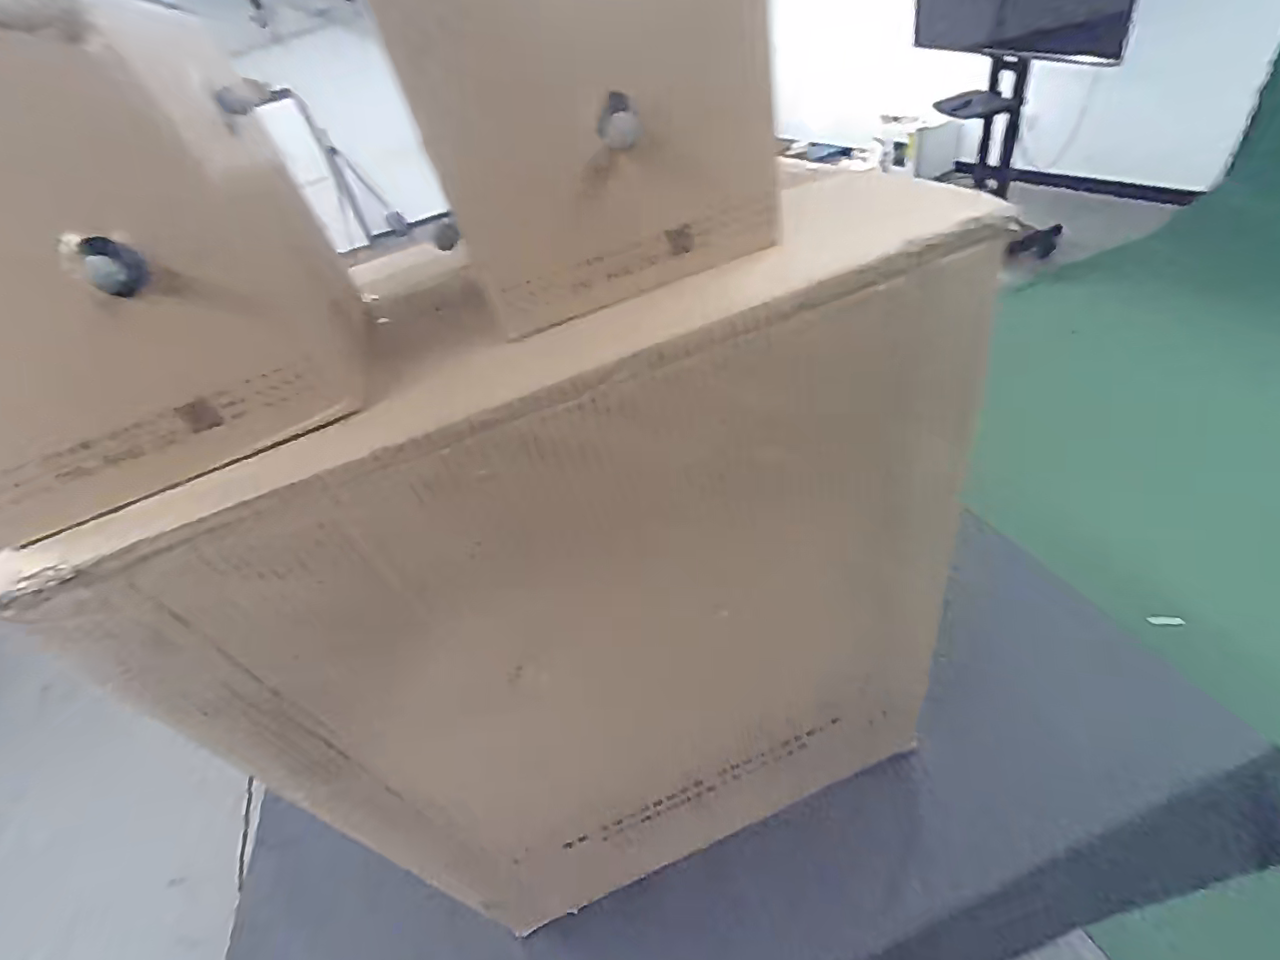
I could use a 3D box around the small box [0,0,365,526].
[{"bbox_3d":[-0.260,-0.099,0.269,0.168,0.176,0.179,-24,40,-9],"label":"small box"}]
